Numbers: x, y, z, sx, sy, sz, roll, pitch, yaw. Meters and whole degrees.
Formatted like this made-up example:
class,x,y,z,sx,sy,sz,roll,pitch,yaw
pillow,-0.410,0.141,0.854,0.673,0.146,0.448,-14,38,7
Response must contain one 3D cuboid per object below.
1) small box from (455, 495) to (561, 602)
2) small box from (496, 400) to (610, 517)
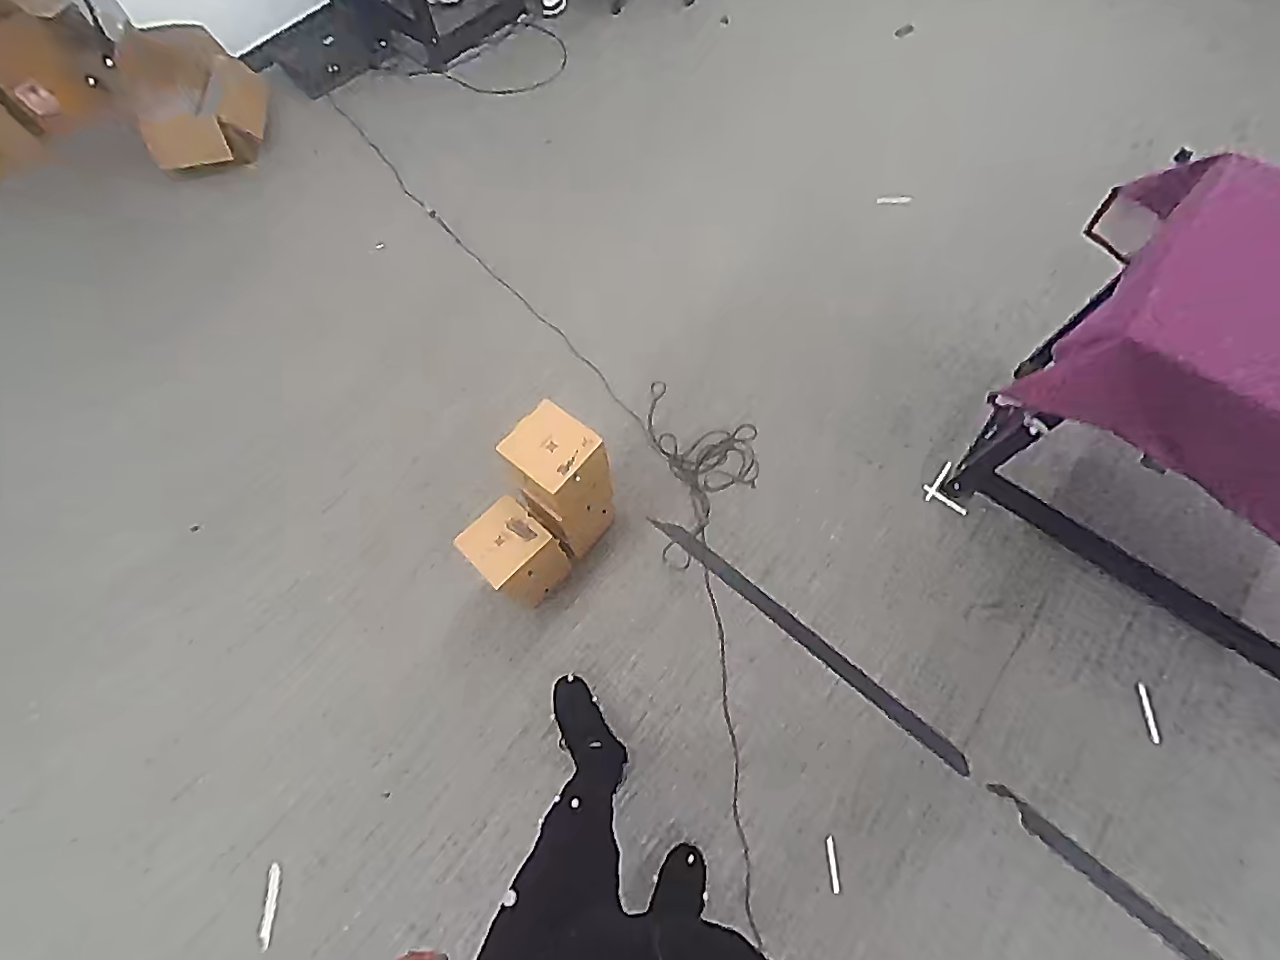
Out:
class,x,y,z,sx,sy,sz,roll,pitch,yaw
small box,-0.311,0.172,1.321,0.168,0.176,0.179,42,76,18
small box,-0.189,-0.041,1.226,0.179,0.176,0.168,36,74,17
